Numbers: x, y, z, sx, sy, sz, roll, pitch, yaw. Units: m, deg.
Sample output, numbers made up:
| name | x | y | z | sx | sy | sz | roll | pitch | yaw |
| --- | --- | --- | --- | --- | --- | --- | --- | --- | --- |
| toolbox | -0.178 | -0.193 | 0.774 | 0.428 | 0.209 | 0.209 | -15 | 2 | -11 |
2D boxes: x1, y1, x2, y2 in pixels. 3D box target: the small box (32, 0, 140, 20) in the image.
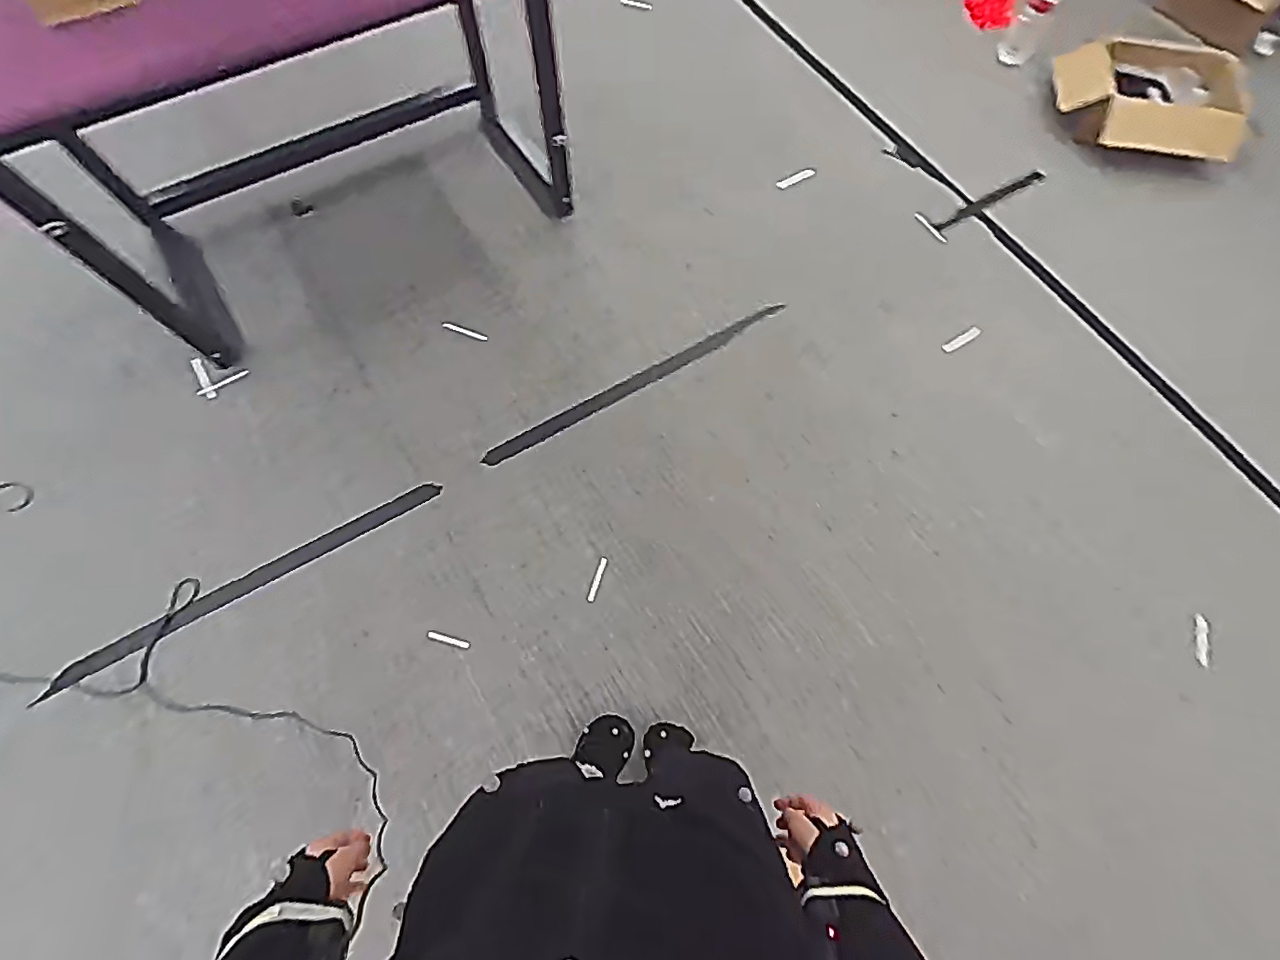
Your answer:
| name | x | y | z | sx | sy | sz | roll | pitch | yaw |
| --- | --- | --- | --- | --- | --- | --- | --- | --- | --- |
| small box | -1.045 | -0.960 | 0.955 | 0.168 | 0.176 | 0.179 | -29 | 73 | -11 |
